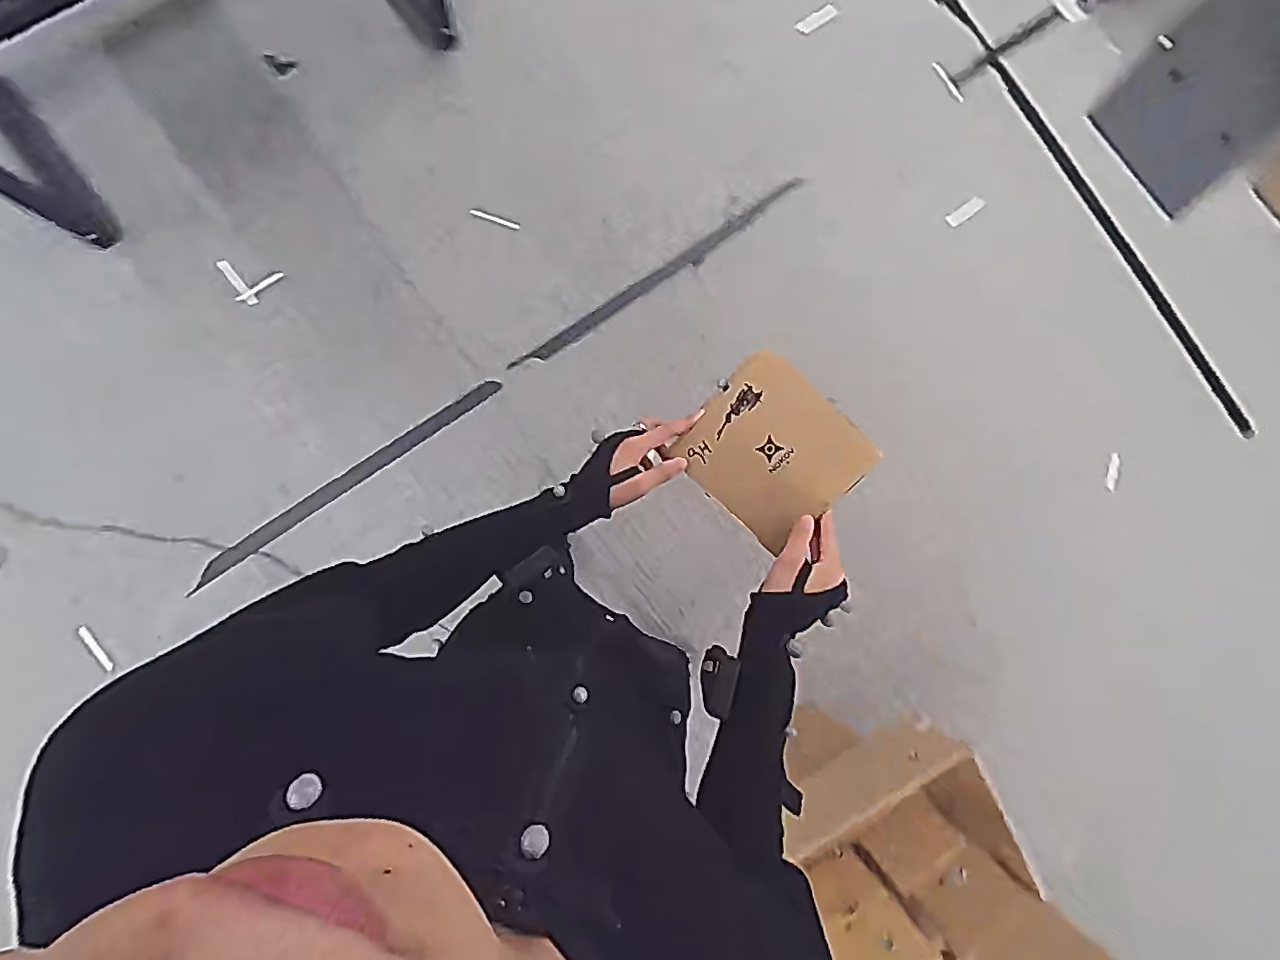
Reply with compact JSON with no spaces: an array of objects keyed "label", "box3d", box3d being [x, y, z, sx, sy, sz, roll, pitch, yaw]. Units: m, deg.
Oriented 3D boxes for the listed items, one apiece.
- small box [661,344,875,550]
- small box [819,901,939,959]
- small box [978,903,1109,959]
[{"label":"small box","box3d":[0.145,-0.048,0.671,0.179,0.176,0.168,42,101,-4]},{"label":"small box","box3d":[0.464,0.941,1.009,0.168,0.176,0.179,-23,92,-9]},{"label":"small box","box3d":[0.698,0.852,0.874,0.179,0.176,0.168,-35,92,-6]}]
